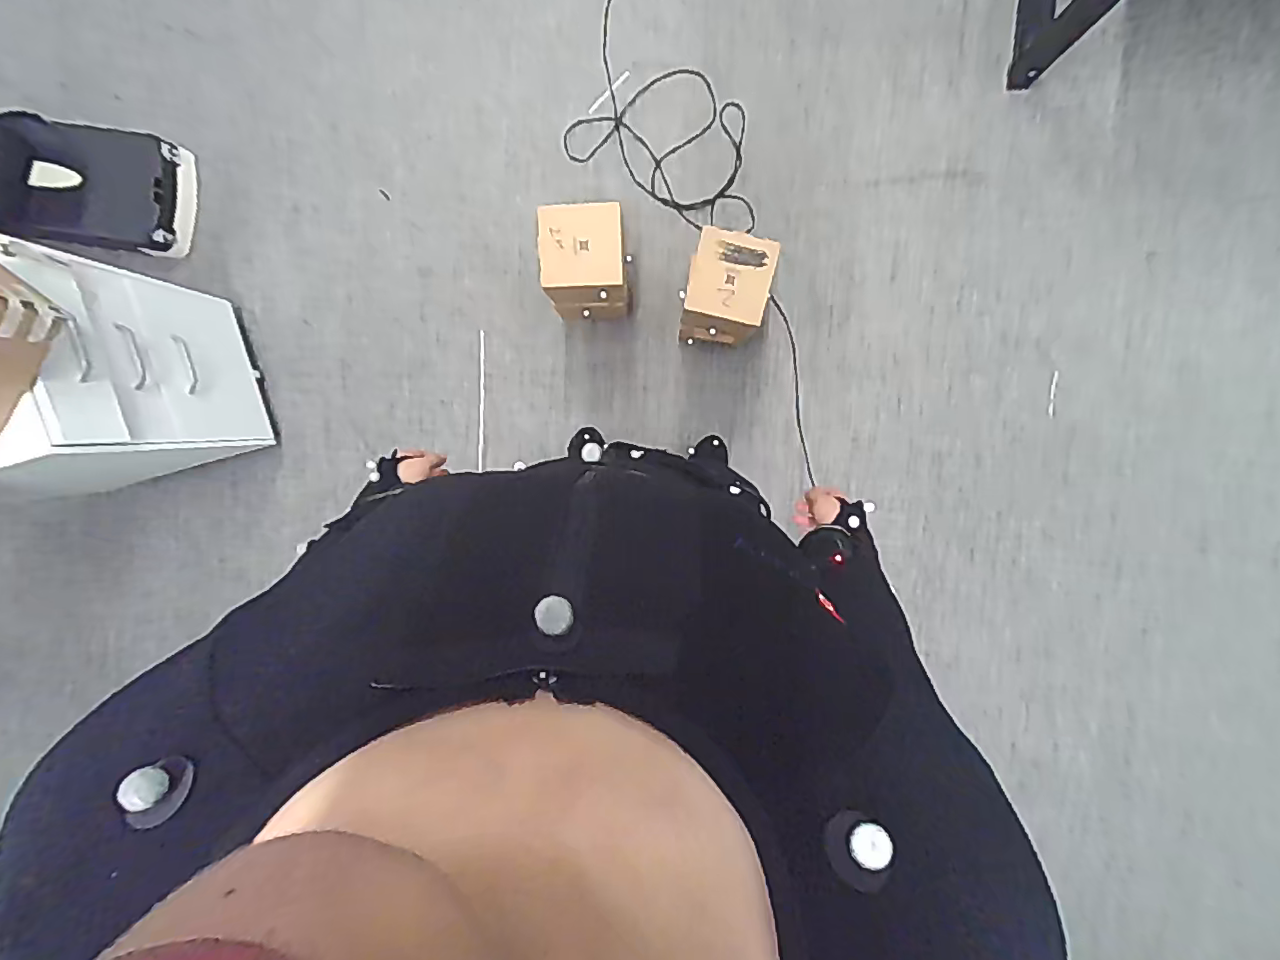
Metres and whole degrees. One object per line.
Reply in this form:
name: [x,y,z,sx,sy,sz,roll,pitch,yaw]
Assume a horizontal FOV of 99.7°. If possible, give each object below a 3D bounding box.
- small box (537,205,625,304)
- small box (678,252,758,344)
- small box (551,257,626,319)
small box: [-0.123,-0.493,1.199,0.179,0.176,0.168,-1,96,3]
small box: [0.189,-0.447,1.358,0.168,0.176,0.179,8,96,1]
small box: [-0.125,-0.506,1.363,0.179,0.176,0.168,0,96,2]
